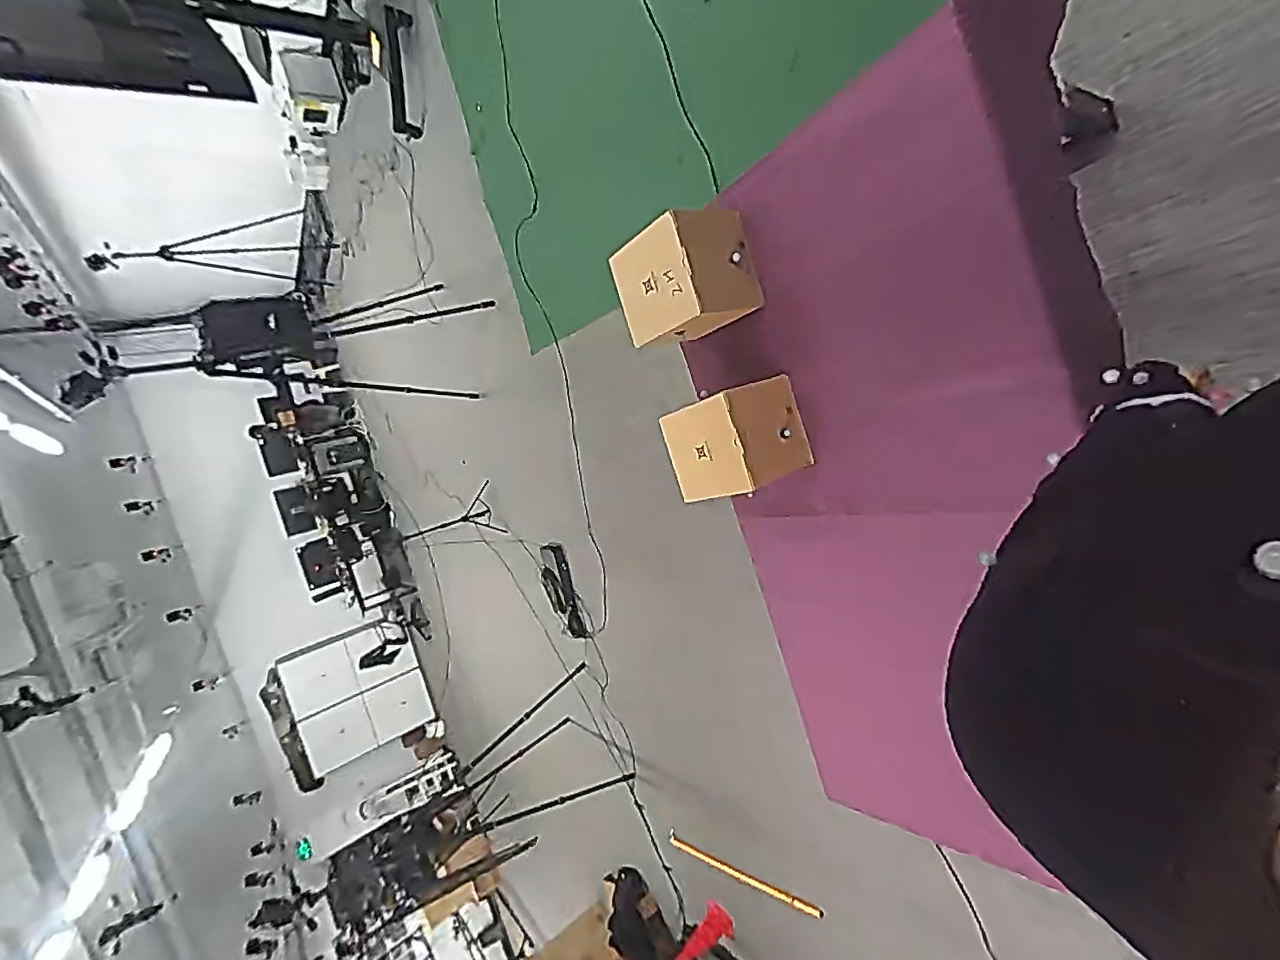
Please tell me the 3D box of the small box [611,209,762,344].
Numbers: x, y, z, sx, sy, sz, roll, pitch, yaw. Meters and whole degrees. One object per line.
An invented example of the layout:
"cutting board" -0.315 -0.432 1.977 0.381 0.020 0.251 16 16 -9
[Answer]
"small box" 0.082 -0.351 0.950 0.179 0.176 0.168 -11 98 52

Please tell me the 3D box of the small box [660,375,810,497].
"small box" 0.171 -0.077 0.974 0.179 0.176 0.168 -15 94 53
